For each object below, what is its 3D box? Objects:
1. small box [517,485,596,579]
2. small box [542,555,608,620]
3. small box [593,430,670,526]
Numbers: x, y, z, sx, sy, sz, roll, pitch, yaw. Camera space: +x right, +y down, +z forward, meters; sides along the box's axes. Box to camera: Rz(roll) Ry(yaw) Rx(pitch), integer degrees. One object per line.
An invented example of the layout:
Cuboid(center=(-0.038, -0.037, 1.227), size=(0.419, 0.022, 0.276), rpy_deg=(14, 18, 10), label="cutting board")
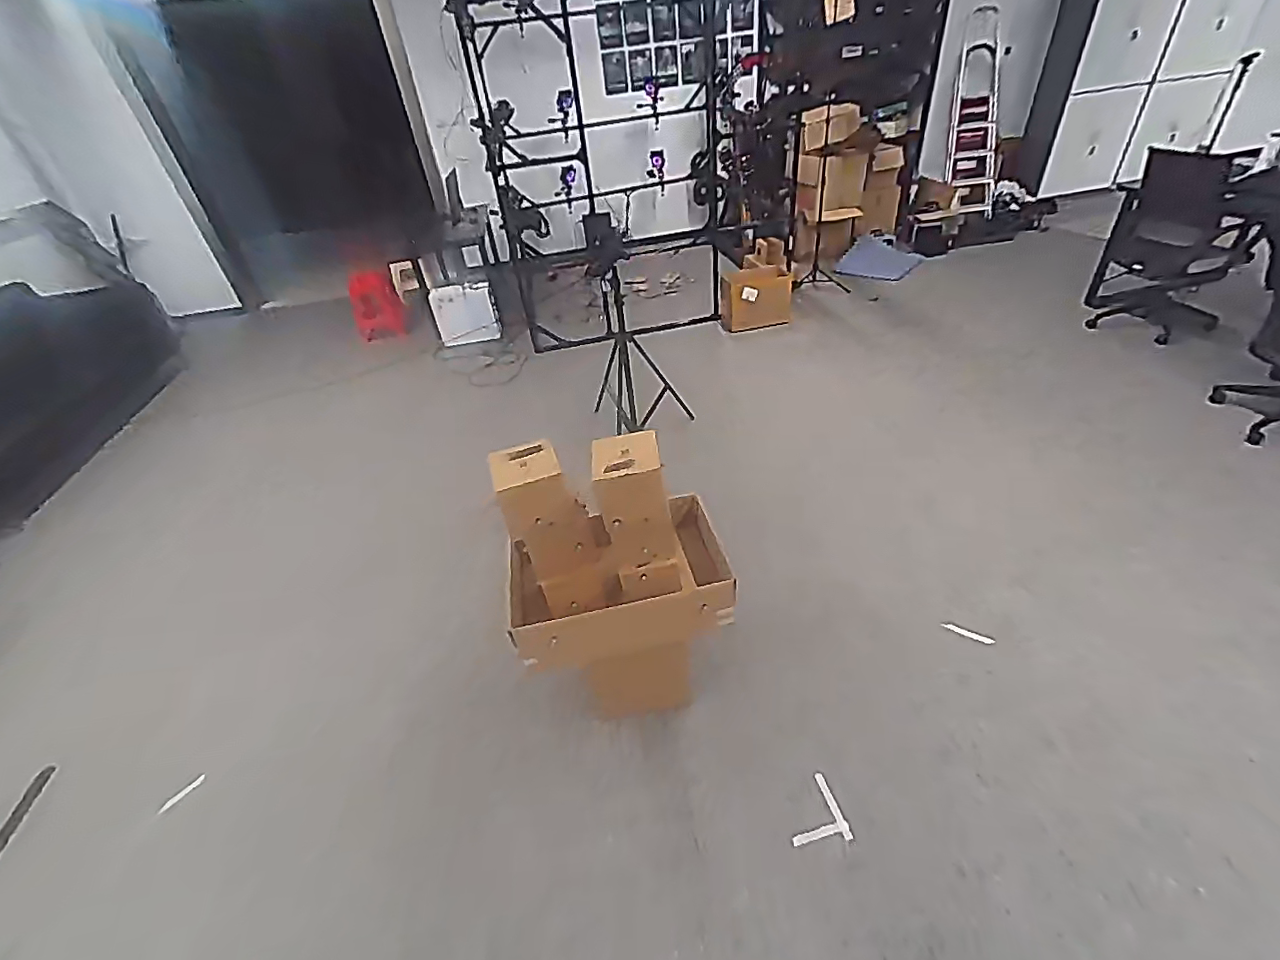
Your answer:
Cuboid(center=(-0.225, 0.144, 1.491), size=(0.179, 0.176, 0.168), rpy_deg=(-17, 38, -11), label="small box")
Cuboid(center=(-0.203, 0.276, 1.586), size=(0.168, 0.176, 0.179), rpy_deg=(-17, 39, -11), label="small box")
Cuboid(center=(-0.020, 0.000, 1.365), size=(0.168, 0.176, 0.179), rpy_deg=(-10, 38, 3), label="small box")
